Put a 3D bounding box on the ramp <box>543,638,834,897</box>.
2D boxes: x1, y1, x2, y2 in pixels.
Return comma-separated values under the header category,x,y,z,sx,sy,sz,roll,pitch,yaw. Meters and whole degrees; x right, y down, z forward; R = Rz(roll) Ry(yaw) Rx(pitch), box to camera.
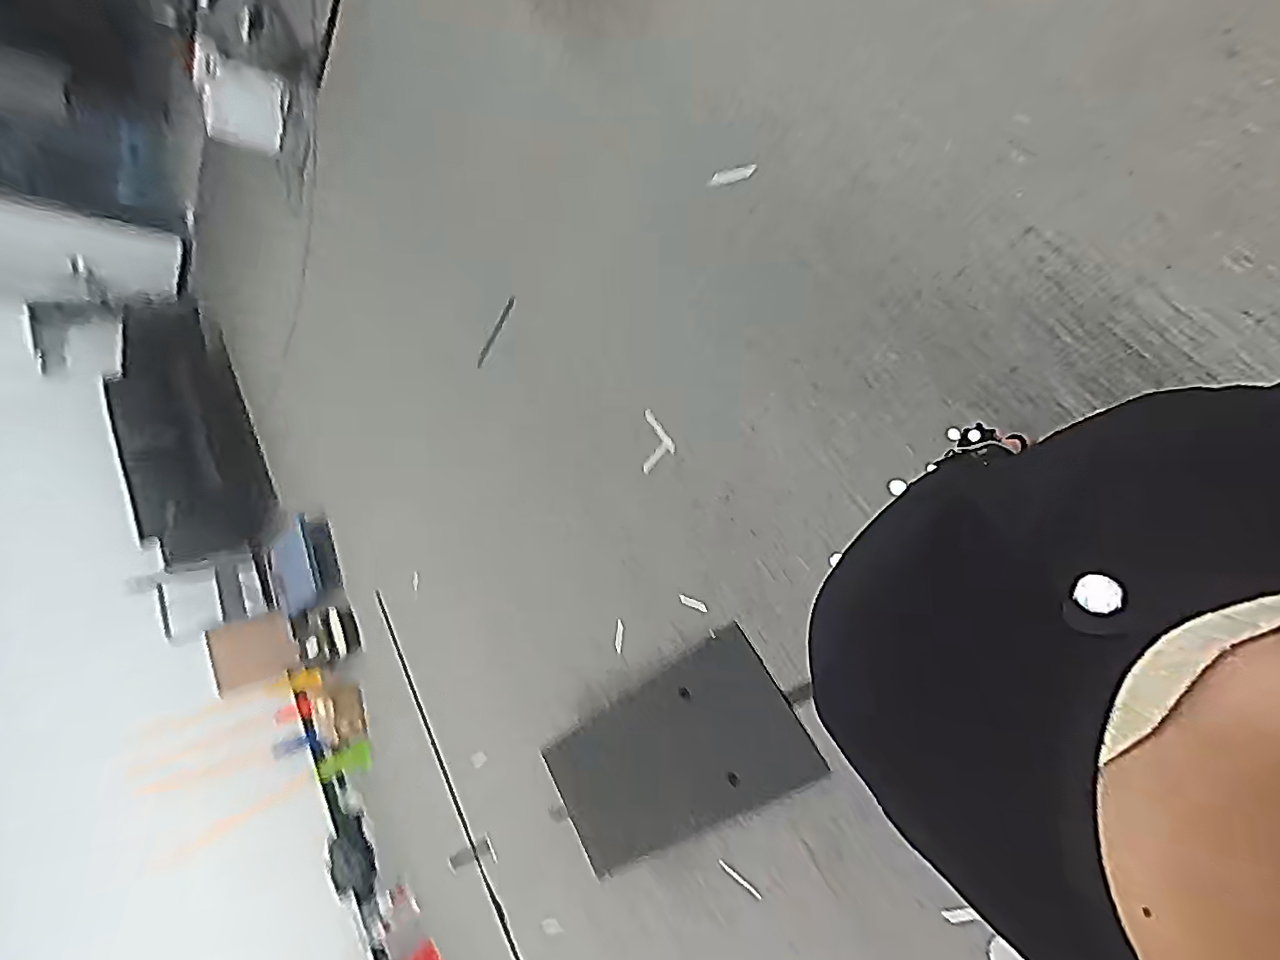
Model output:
category,x,y,z,sx,sy,sz,roll,pitch,yaw
ramp,0.086,0.967,1.782,0.991,0.206,0.509,-48,62,33
